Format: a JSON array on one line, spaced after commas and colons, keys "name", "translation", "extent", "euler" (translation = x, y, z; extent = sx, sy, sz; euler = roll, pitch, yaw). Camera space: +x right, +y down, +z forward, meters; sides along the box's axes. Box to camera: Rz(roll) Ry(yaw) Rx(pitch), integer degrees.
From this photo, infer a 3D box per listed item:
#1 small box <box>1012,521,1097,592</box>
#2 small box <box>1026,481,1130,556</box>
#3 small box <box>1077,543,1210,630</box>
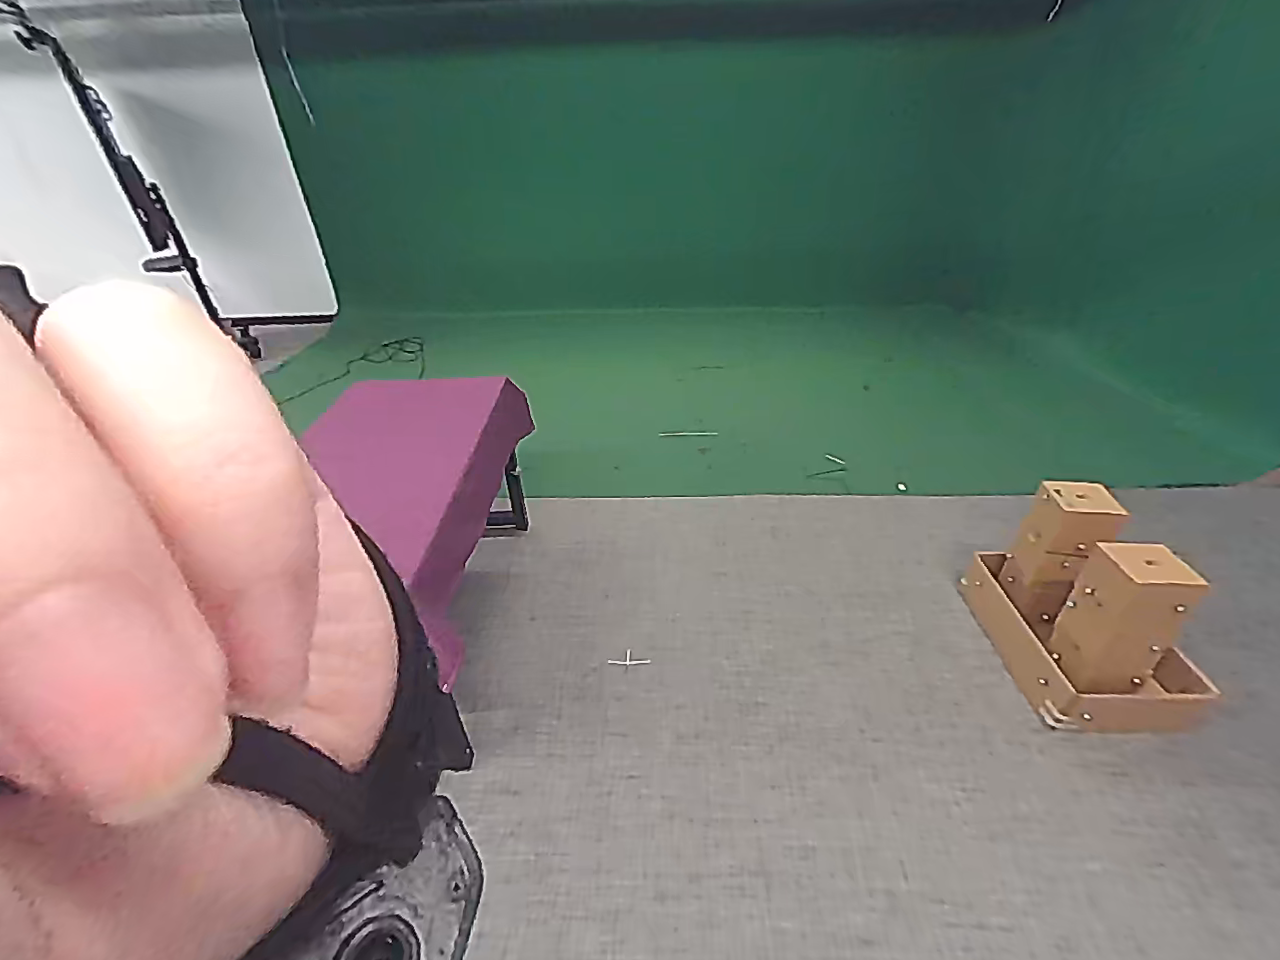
[{"name": "small box", "translation": [1.388, 0.256, 1.815], "extent": [0.179, 0.176, 0.168], "euler": [4, 35, 7]}, {"name": "small box", "translation": [1.380, 0.123, 1.718], "extent": [0.179, 0.176, 0.168], "euler": [5, 34, 8]}, {"name": "small box", "translation": [1.355, 0.290, 1.472], "extent": [0.179, 0.176, 0.168], "euler": [1, 32, 5]}]
